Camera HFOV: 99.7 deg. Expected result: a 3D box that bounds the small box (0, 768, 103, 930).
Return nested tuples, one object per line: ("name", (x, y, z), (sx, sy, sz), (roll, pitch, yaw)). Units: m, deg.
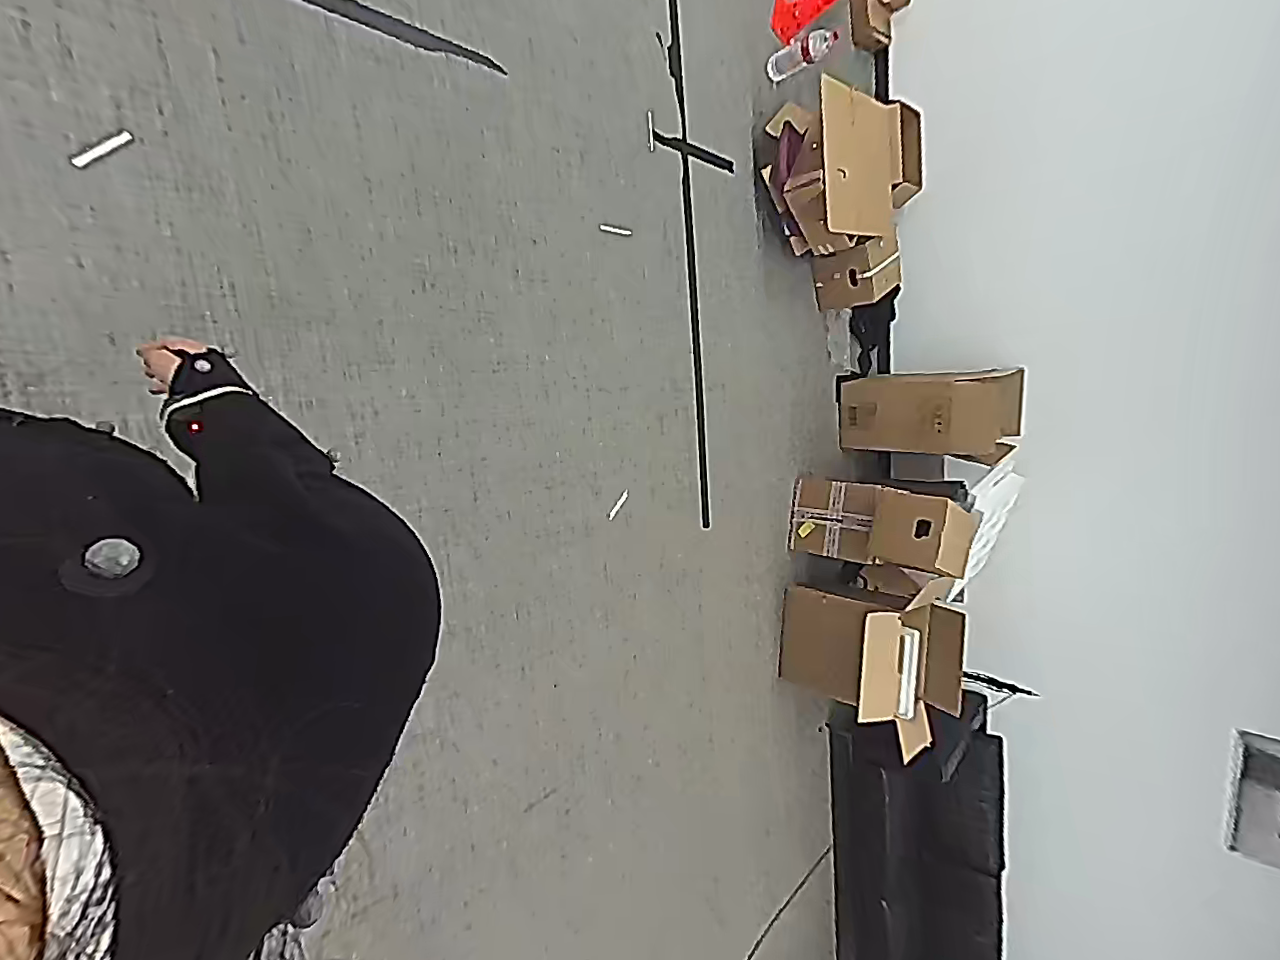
("small box", (-1.120, 0.674, 0.990), (0.179, 0.176, 0.168), (-14, 103, -44))
